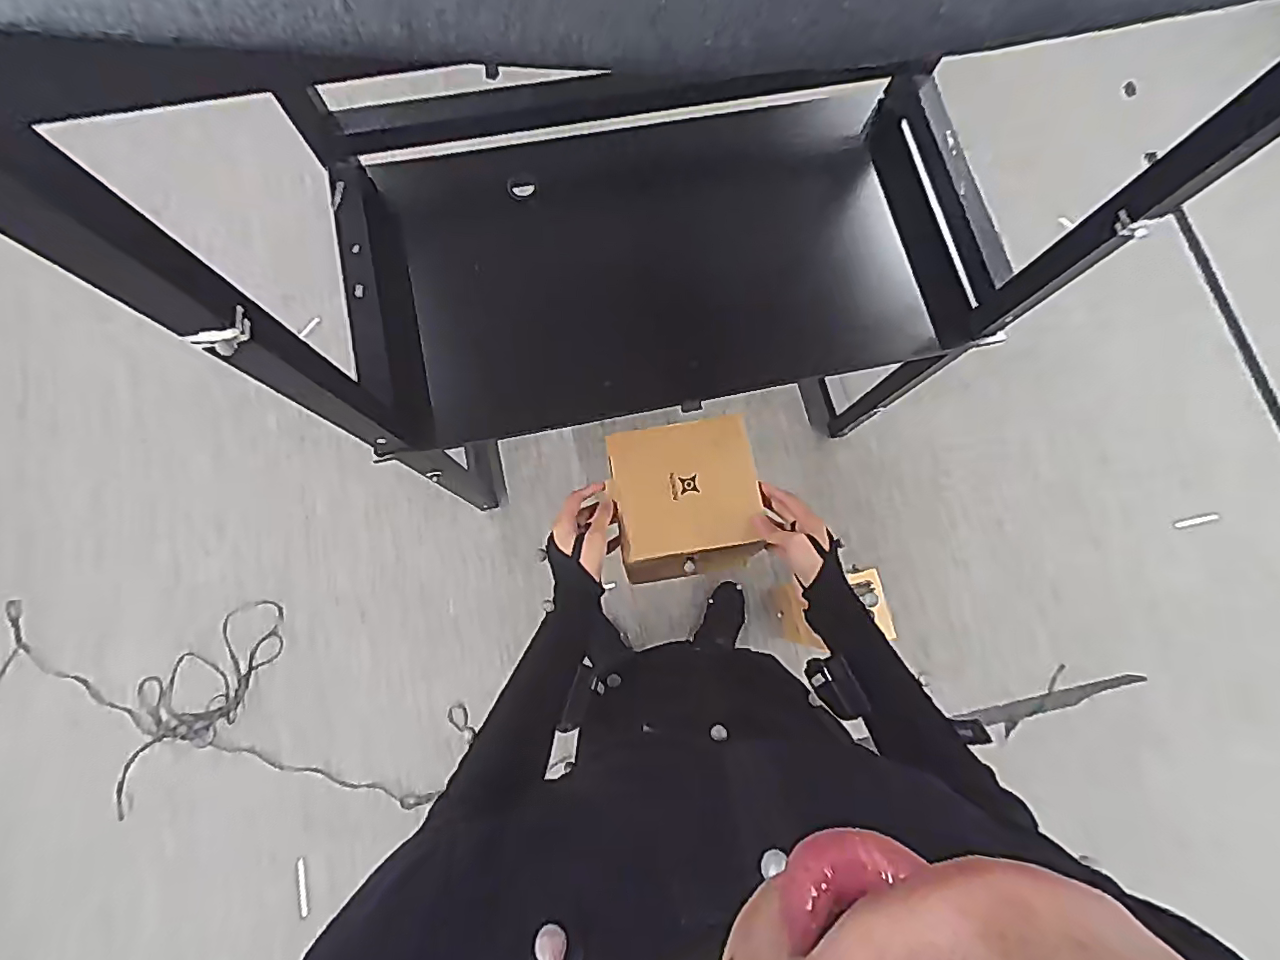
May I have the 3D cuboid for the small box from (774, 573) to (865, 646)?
[{"bbox_3d":[0.511,0.368,1.560,0.179,0.176,0.168,-14,79,-4],"label":"small box"}]
